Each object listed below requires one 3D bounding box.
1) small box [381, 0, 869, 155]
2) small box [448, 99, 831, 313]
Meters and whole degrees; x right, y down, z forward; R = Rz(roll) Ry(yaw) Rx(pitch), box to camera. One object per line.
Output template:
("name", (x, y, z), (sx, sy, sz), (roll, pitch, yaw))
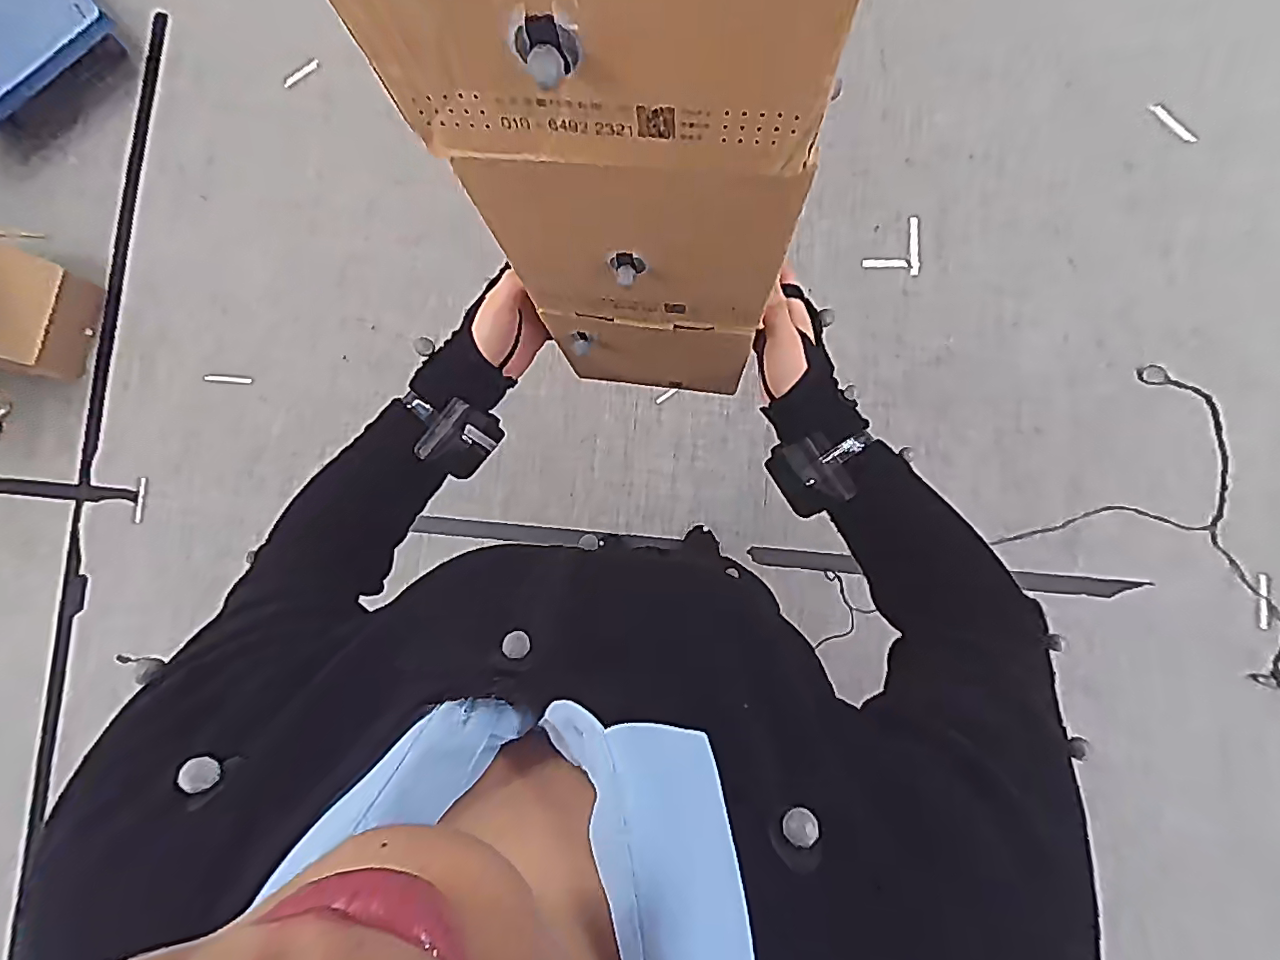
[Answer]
("small box", (-0.004, -0.234, 0.153), (0.168, 0.176, 0.179), (6, 84, 5))
("small box", (0.012, -0.214, 0.314), (0.168, 0.176, 0.179), (6, 83, 4))
